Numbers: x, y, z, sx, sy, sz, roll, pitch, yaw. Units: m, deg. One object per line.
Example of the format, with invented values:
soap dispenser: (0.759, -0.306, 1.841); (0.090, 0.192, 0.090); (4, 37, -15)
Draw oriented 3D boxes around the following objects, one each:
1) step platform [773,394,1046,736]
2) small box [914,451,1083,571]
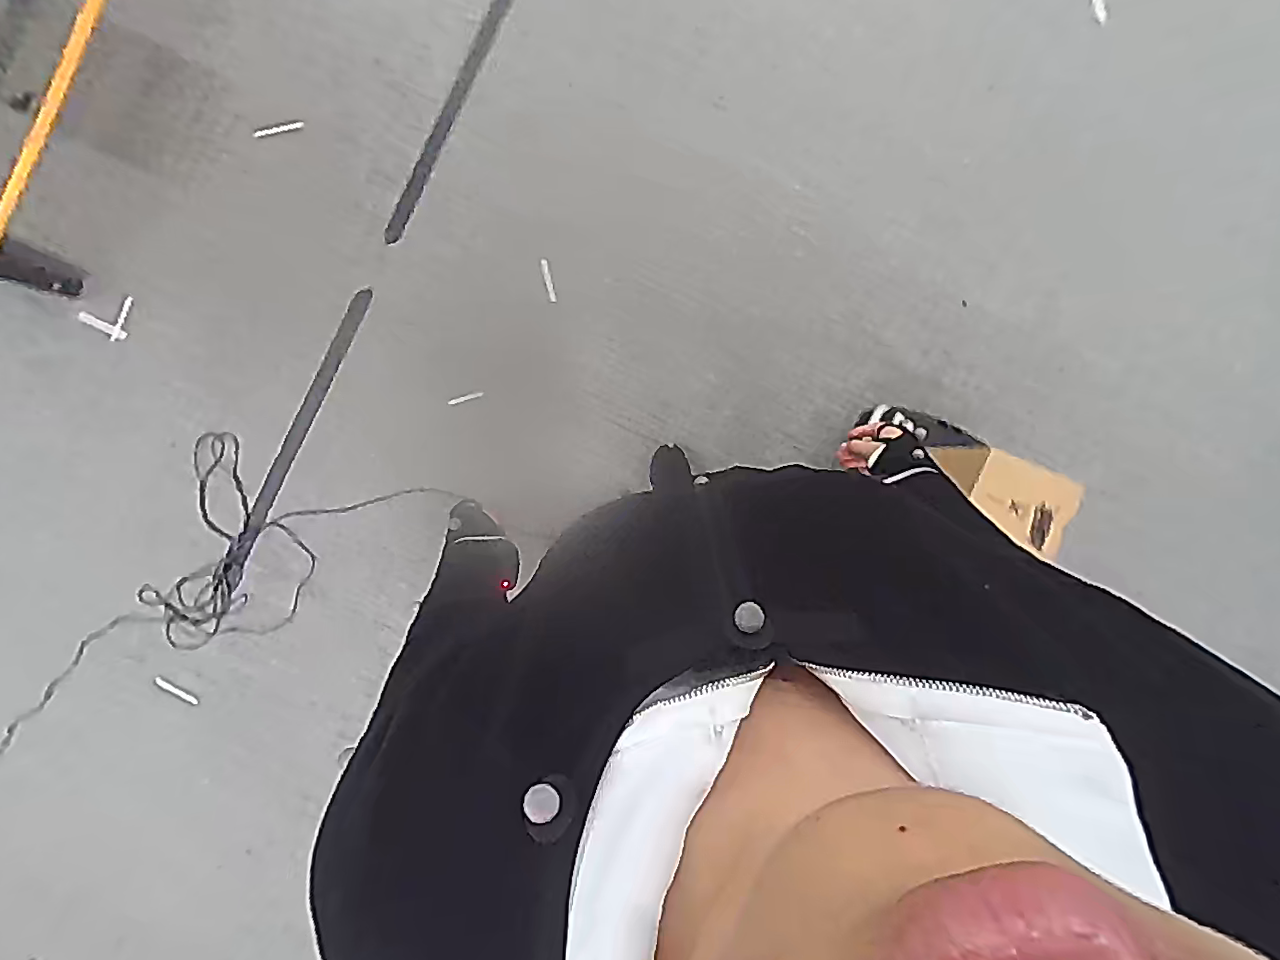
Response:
step platform: (0.554, 0.170, 1.170); (0.286, 0.204, 0.684); (25, 94, 1)
small box: (0.667, 0.049, 1.030); (0.179, 0.176, 0.168); (24, 93, 2)
